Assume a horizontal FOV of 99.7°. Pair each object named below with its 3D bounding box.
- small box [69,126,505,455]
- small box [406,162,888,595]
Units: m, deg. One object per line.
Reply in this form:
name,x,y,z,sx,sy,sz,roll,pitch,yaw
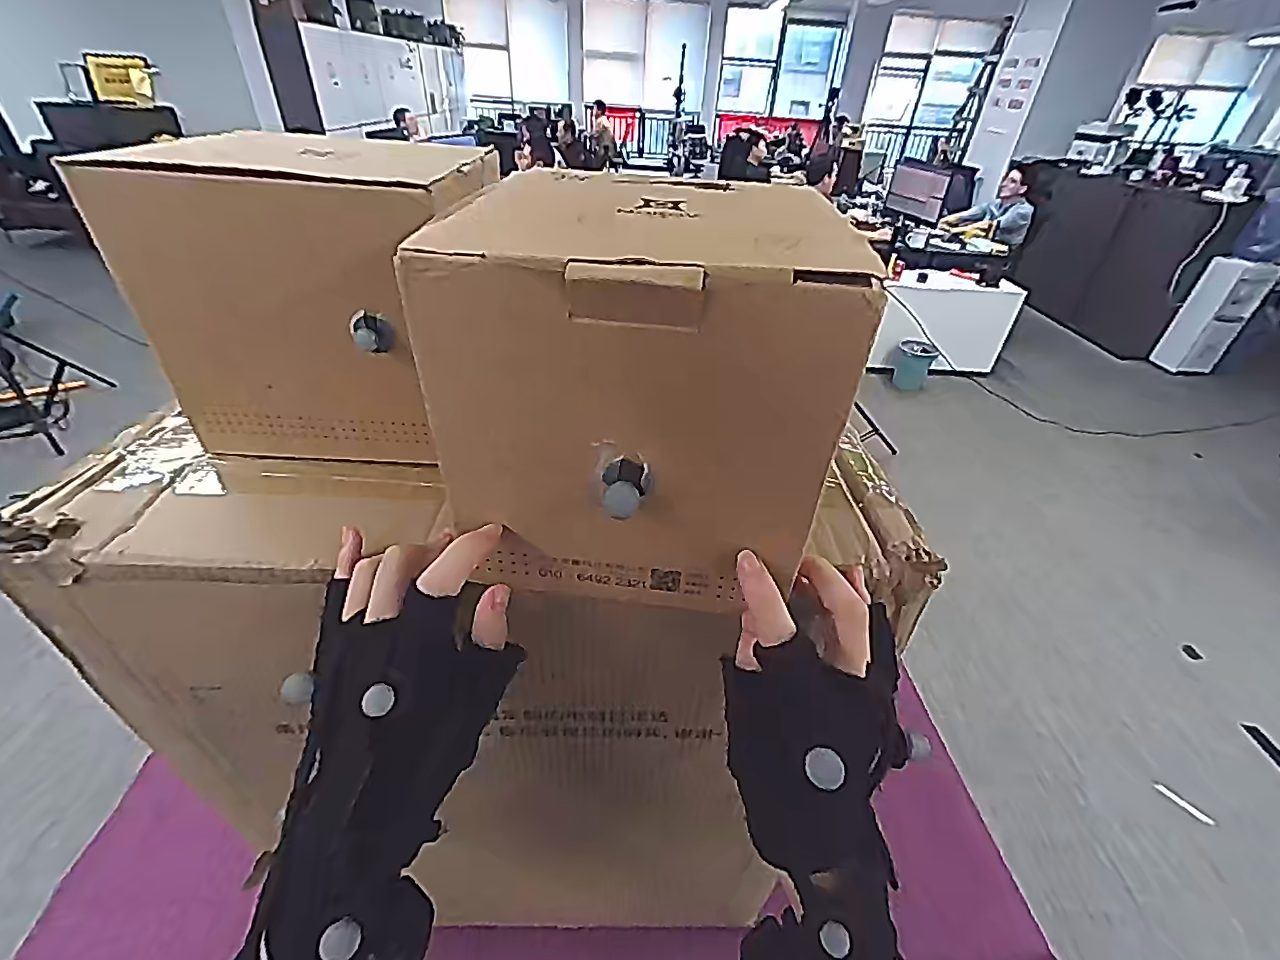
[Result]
small box,-0.186,-0.129,0.366,0.179,0.176,0.168,1,36,-2
small box,0.008,-0.060,0.291,0.168,0.176,0.179,6,38,4
